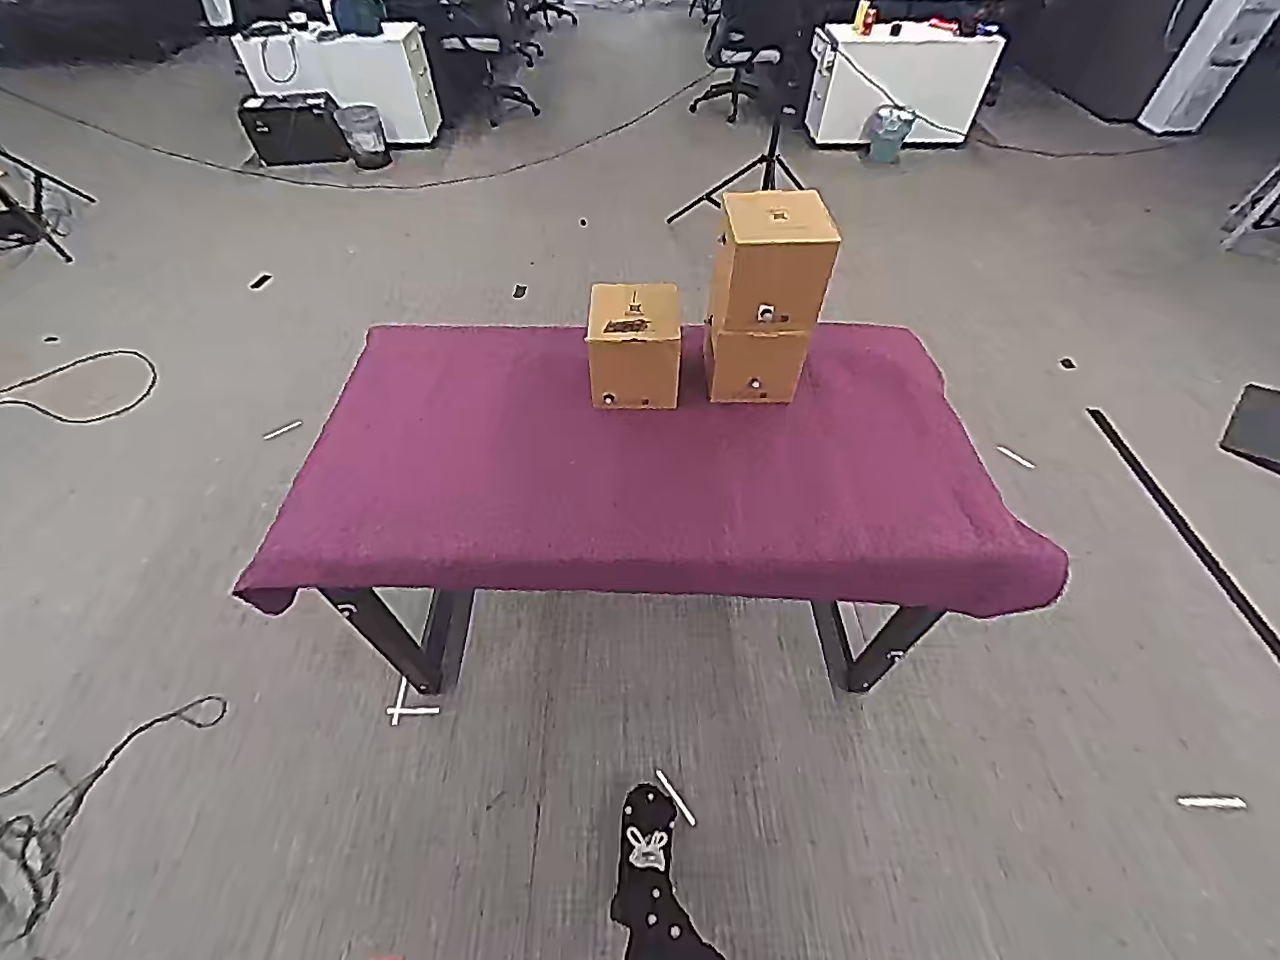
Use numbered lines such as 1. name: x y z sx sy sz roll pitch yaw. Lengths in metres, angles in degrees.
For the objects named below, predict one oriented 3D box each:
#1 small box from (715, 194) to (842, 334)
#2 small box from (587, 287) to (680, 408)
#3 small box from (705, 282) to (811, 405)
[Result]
1. small box: 0.227 -0.375 0.944 0.168 0.176 0.179 -3 52 -1
2. small box: -0.010 -0.254 1.054 0.168 0.176 0.179 0 51 0
3. small box: 0.221 -0.270 1.067 0.168 0.176 0.179 0 52 0
